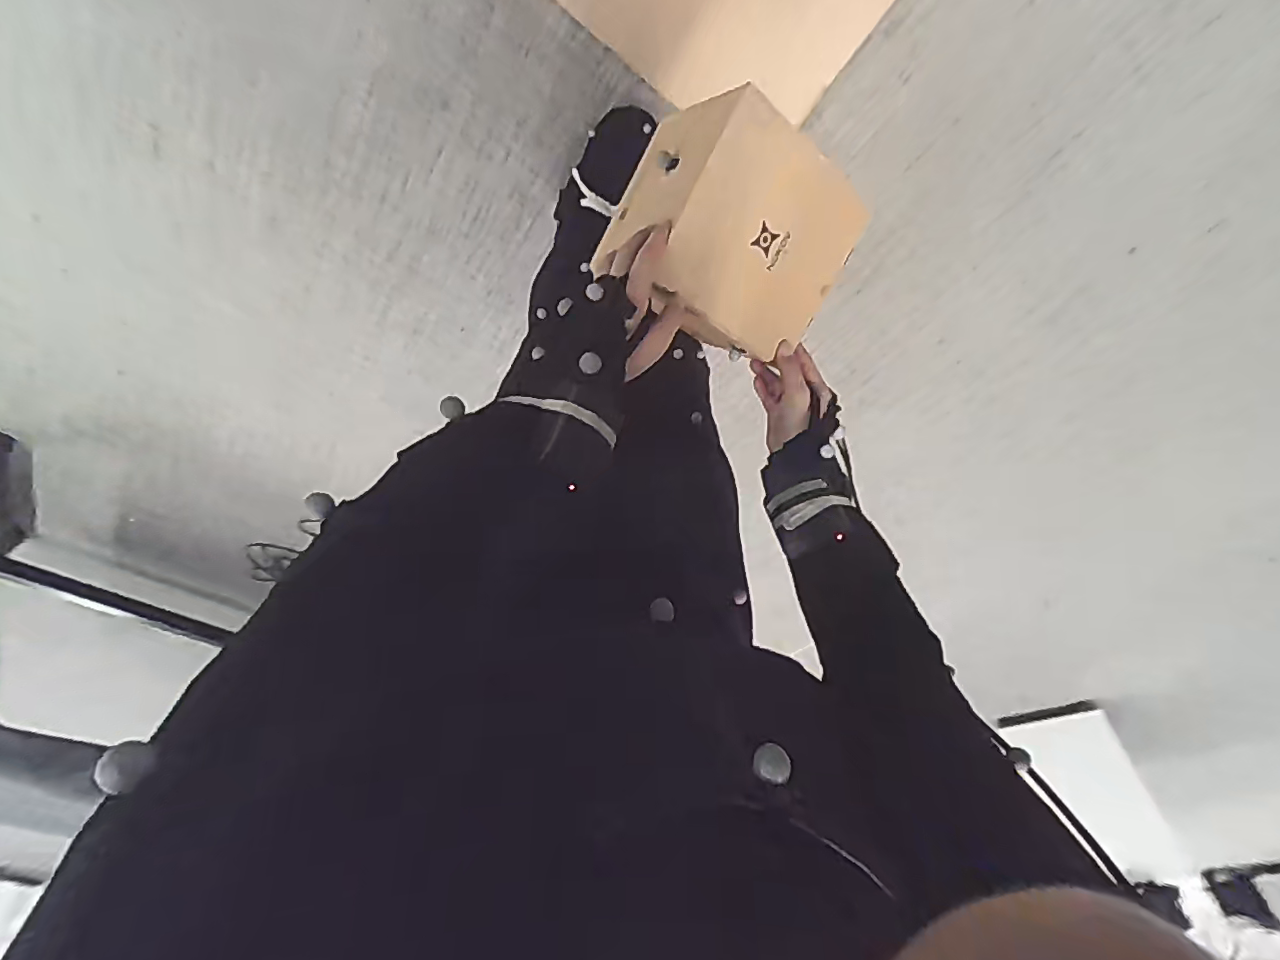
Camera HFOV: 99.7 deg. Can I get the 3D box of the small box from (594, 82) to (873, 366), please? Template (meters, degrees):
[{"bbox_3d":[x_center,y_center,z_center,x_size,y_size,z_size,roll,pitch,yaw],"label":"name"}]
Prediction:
[{"bbox_3d":[0.078,-0.236,0.534,0.179,0.176,0.168,22,103,-31],"label":"small box"}]
